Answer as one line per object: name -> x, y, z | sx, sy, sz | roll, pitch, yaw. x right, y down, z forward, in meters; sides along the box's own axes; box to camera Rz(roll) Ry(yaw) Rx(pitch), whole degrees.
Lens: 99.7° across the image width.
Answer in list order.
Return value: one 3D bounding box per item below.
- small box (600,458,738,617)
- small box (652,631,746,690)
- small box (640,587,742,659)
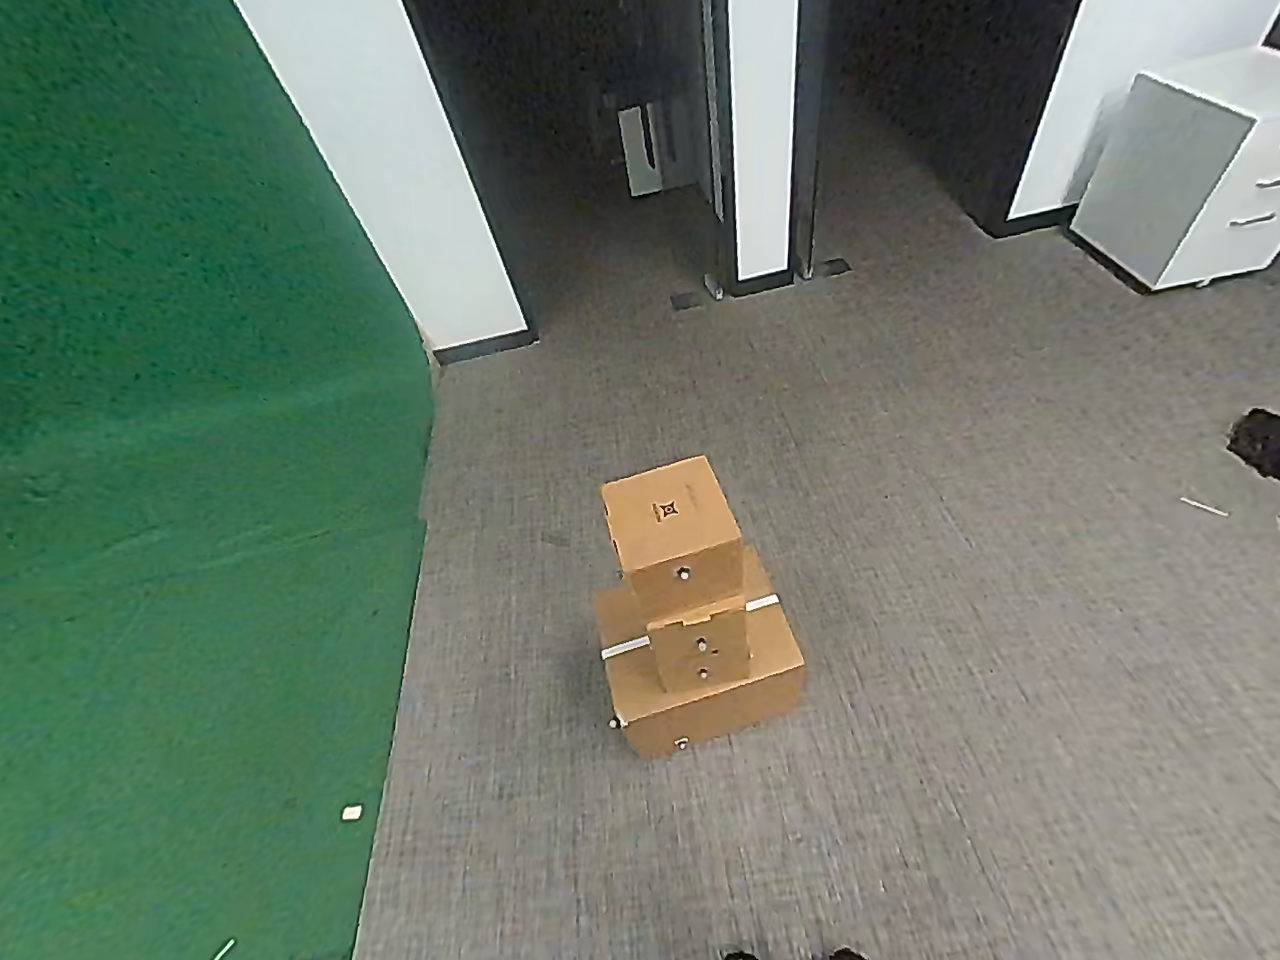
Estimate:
small box -> 0.050, 0.097, 0.868 | 0.179, 0.176, 0.168 | -17, 50, -3
small box -> 0.113, 0.311, 1.106 | 0.179, 0.176, 0.168 | -13, 50, 2
small box -> 0.085, 0.209, 0.983 | 0.168, 0.176, 0.179 | -13, 50, 2
